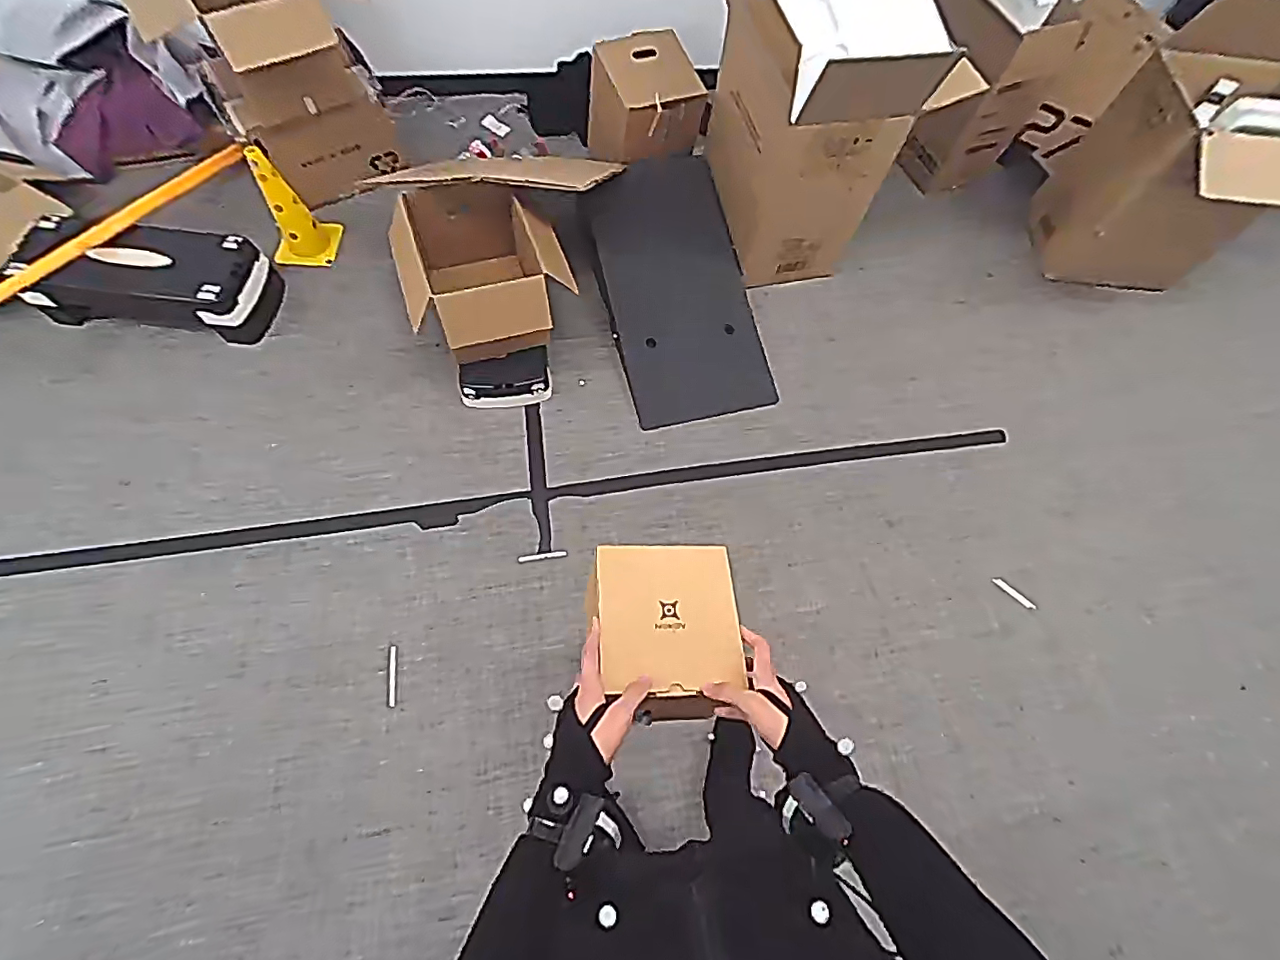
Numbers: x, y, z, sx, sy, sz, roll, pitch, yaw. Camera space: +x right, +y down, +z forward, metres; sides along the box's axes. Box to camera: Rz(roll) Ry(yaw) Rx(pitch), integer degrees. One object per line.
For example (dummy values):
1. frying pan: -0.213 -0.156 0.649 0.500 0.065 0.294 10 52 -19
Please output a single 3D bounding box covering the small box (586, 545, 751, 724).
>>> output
1. small box: 0.021 0.195 0.678 0.168 0.176 0.179 1 58 -10
